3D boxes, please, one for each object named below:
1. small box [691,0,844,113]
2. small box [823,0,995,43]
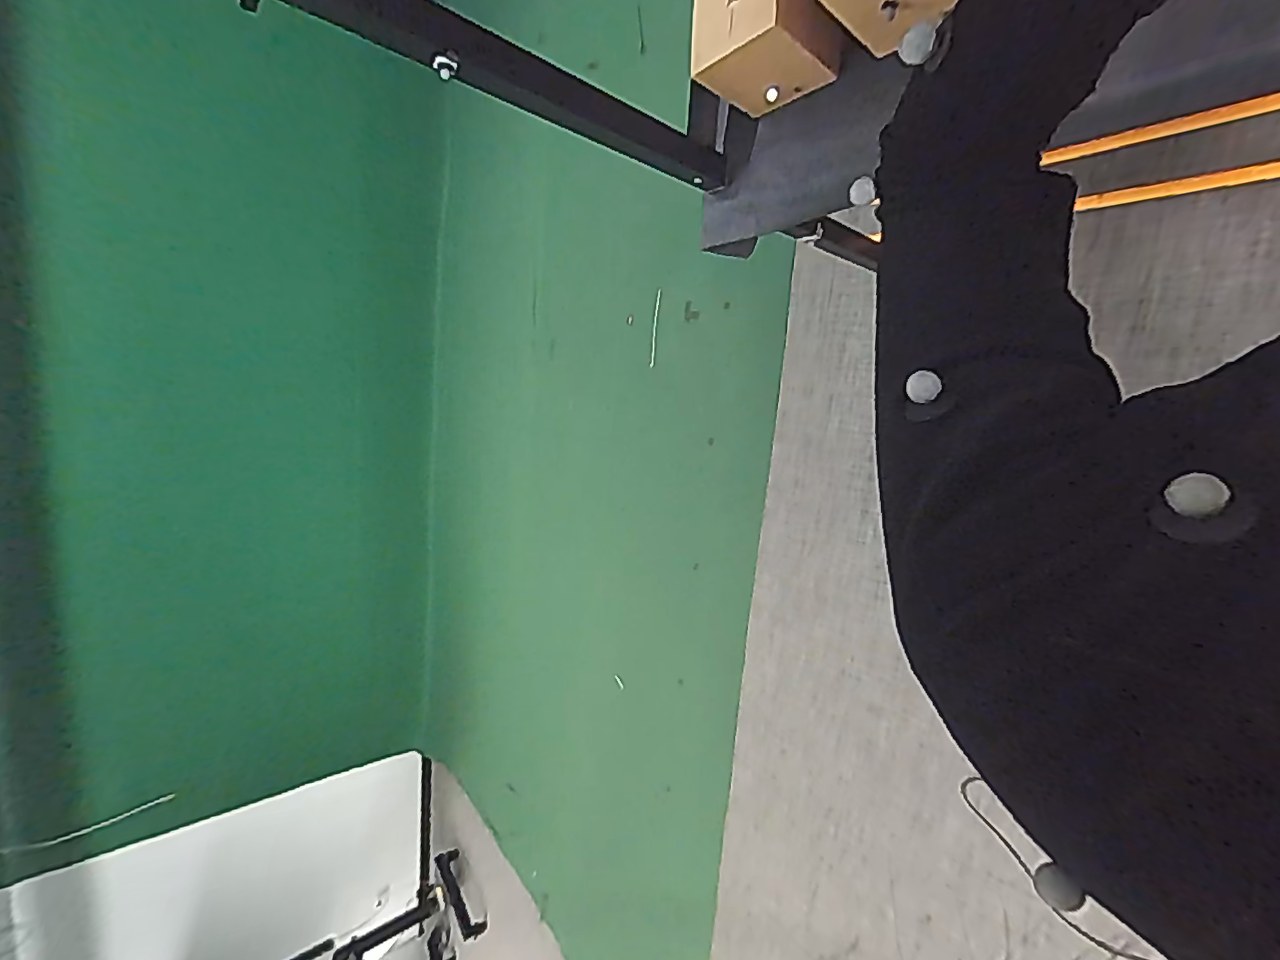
[{"bbox_3d":[0.201,-0.719,0.836,0.168,0.176,0.179,11,100,49],"label":"small box"},{"bbox_3d":[0.348,-0.689,0.667,0.168,0.176,0.179,14,102,48],"label":"small box"}]
